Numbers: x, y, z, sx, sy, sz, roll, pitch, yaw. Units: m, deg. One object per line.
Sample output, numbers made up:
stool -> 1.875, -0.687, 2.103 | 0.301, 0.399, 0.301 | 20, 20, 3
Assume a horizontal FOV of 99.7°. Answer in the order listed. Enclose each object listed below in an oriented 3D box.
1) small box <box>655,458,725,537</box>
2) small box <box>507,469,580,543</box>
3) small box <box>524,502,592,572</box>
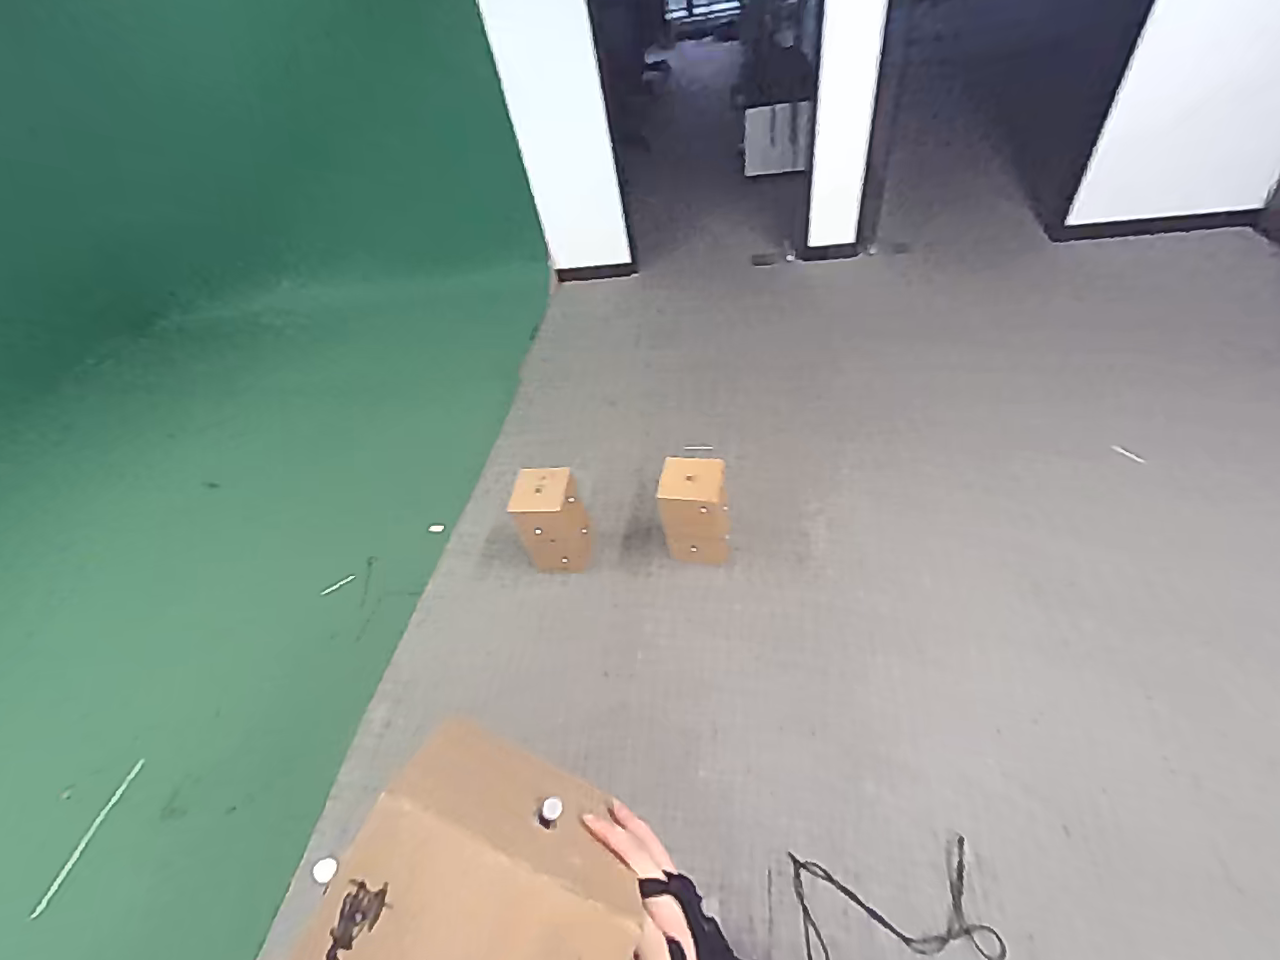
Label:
small box -> 0.154, 0.054, 1.619 | 0.179, 0.176, 0.168 | 3, 48, 15
small box -> -0.293, 0.084, 1.686 | 0.168, 0.176, 0.179 | -1, 48, 10
small box -> -0.266, 0.192, 1.807 | 0.168, 0.176, 0.179 | 0, 47, 11
